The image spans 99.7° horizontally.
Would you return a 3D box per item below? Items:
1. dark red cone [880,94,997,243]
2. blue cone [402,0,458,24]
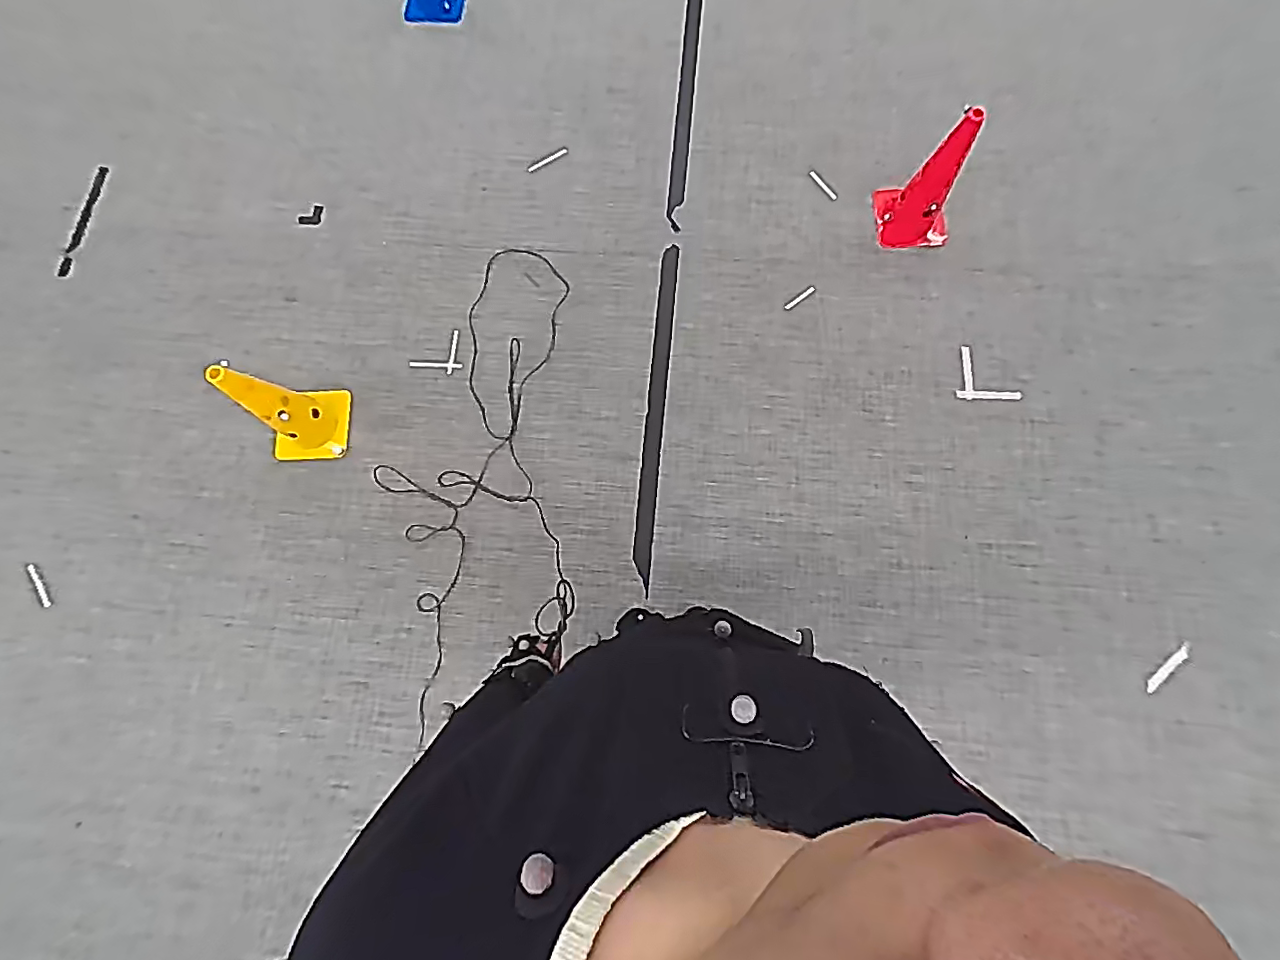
[{"bbox_3d":[0.799,-0.818,1.411,0.201,0.394,0.202,-3,77,2],"label":"dark red cone"},{"bbox_3d":[-0.718,-1.669,1.683,0.192,0.380,0.193,5,77,4],"label":"blue cone"}]
